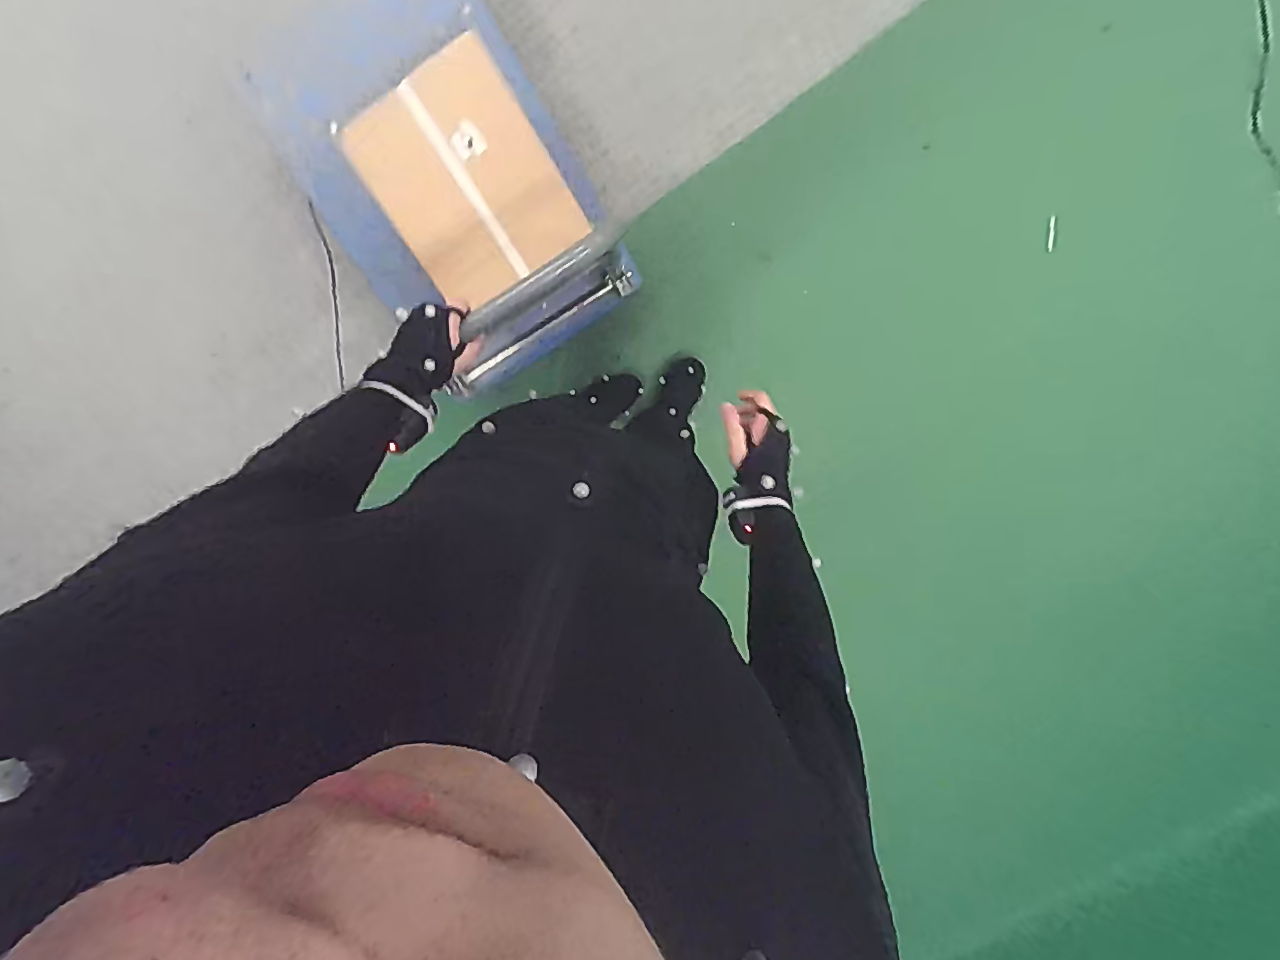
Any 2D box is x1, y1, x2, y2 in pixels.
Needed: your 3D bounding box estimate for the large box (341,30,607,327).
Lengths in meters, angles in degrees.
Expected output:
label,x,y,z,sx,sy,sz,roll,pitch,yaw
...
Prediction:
label,x,y,z,sx,sy,sz,roll,pitch,yaw
large box,-0.304,-0.577,1.133,0.320,0.320,0.408,-31,104,6
